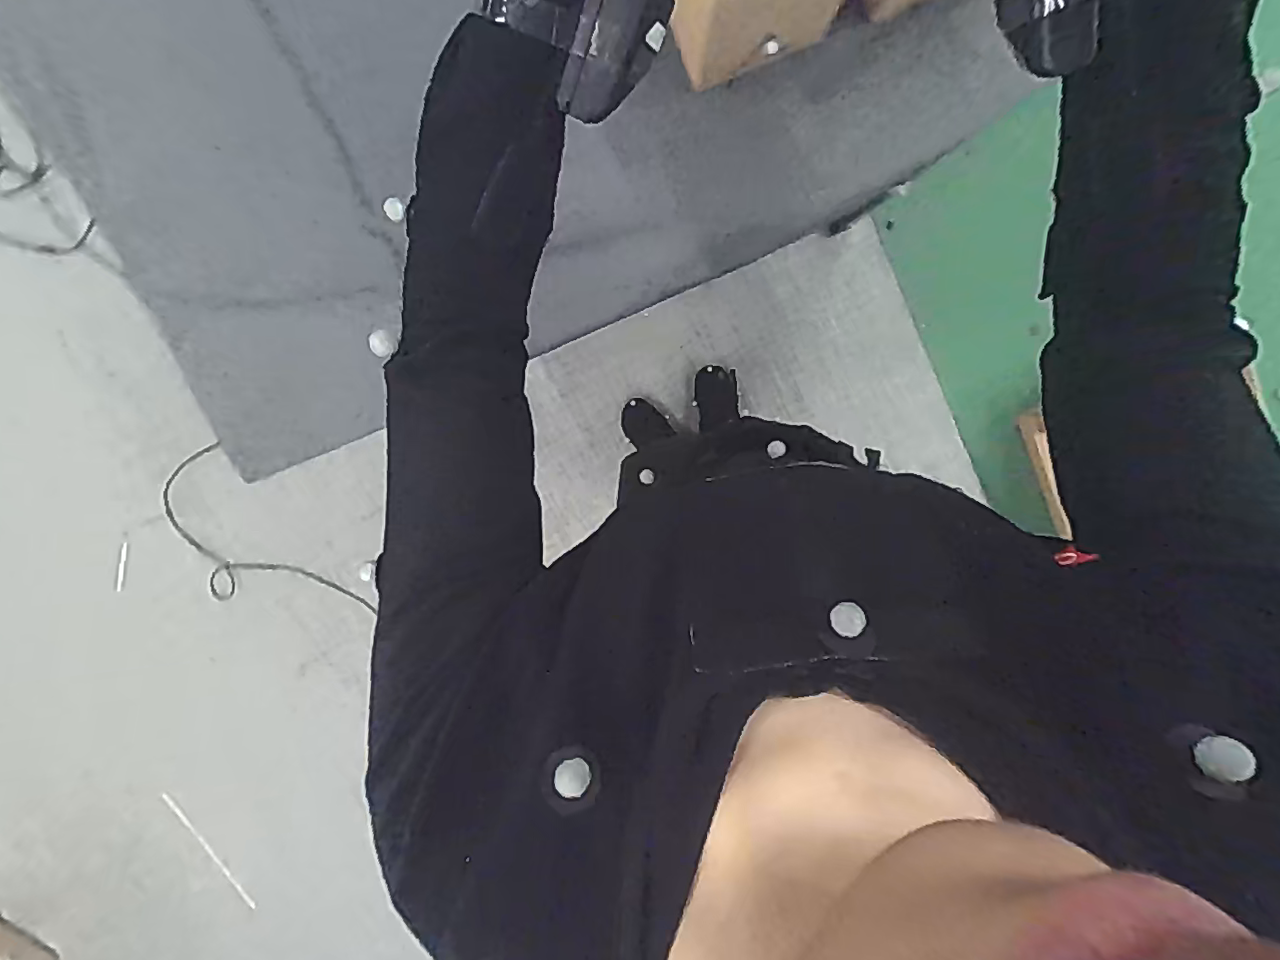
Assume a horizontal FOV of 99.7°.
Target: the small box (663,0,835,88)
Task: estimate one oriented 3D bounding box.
[{"bbox_3d":[0.108,-0.569,0.564,0.168,0.176,0.179,-22,99,3],"label":"small box"}]
